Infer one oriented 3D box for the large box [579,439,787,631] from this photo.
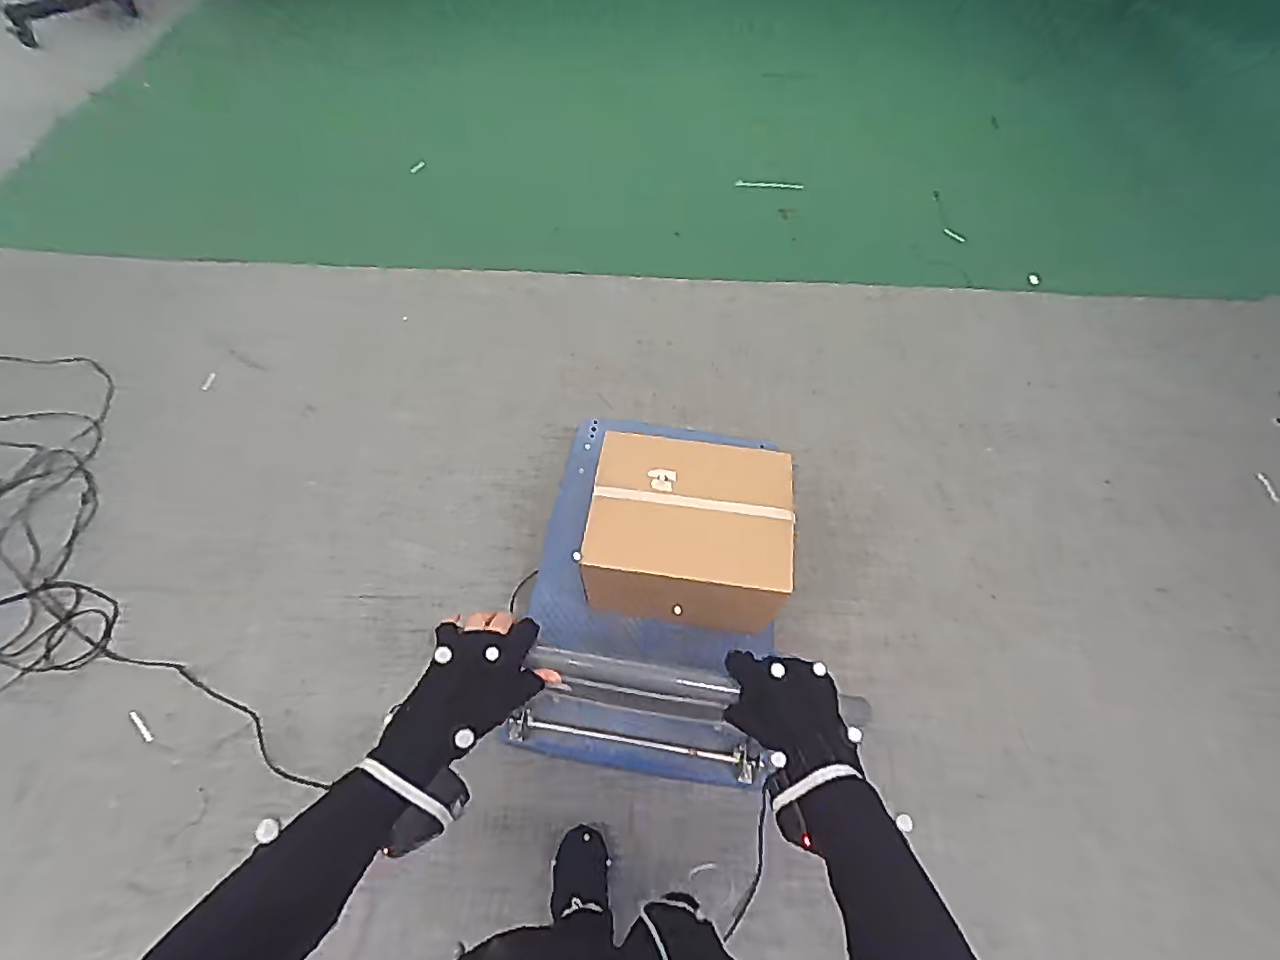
[{"bbox_3d":[0.100,0.135,1.228,0.408,0.320,0.320,7,59,4],"label":"large box"}]
